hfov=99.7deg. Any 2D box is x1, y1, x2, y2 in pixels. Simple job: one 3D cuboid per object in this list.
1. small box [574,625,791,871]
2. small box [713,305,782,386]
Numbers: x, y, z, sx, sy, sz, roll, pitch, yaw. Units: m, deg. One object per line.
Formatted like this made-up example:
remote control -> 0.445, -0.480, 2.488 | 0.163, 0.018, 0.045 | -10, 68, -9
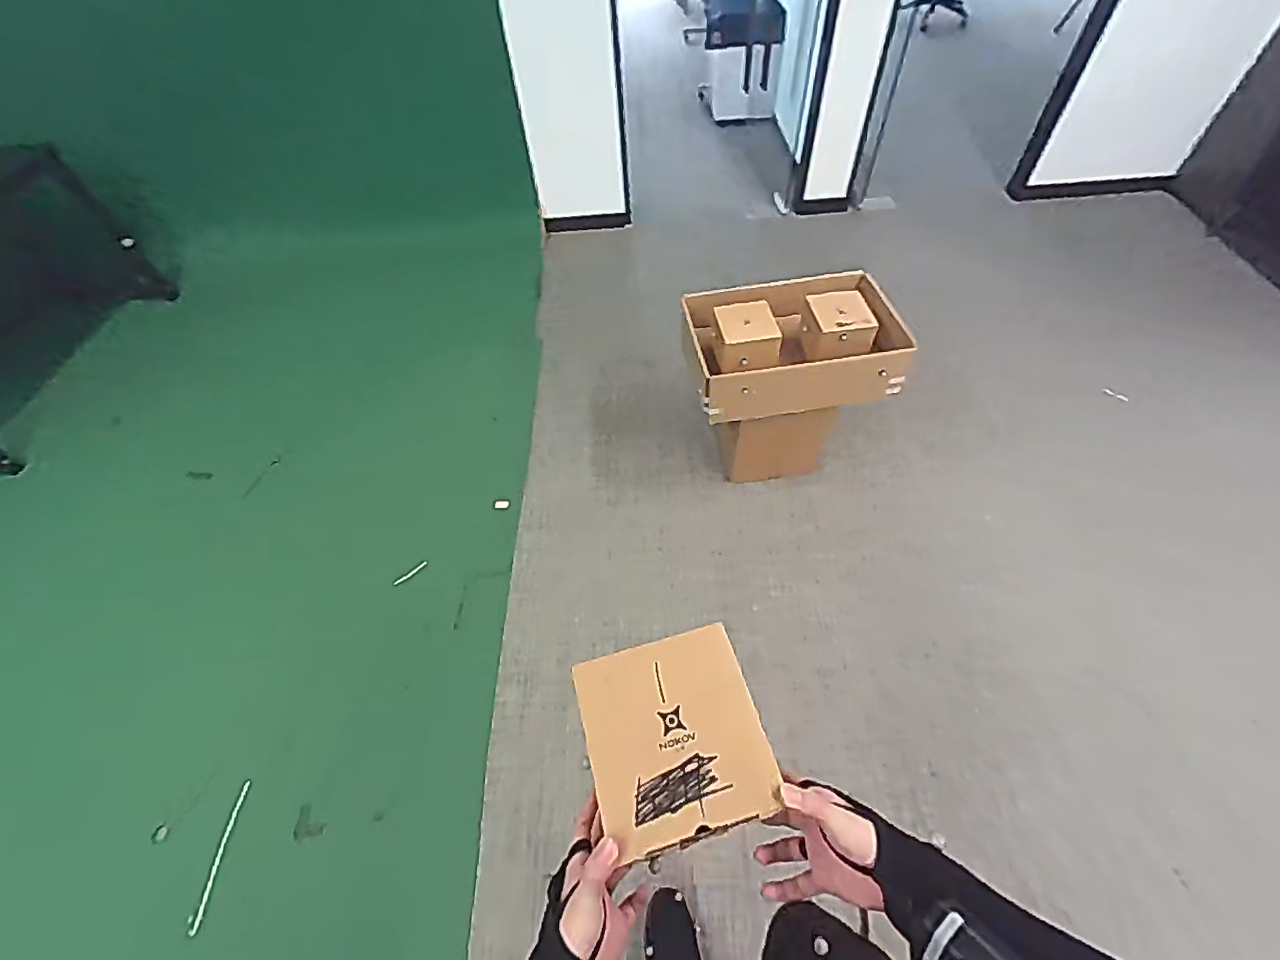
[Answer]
small box -> 0.036, 0.279, 0.562 | 0.168, 0.176, 0.179 | -13, 54, -7
small box -> 0.321, -0.400, 1.640 | 0.168, 0.176, 0.179 | -8, 52, -2
